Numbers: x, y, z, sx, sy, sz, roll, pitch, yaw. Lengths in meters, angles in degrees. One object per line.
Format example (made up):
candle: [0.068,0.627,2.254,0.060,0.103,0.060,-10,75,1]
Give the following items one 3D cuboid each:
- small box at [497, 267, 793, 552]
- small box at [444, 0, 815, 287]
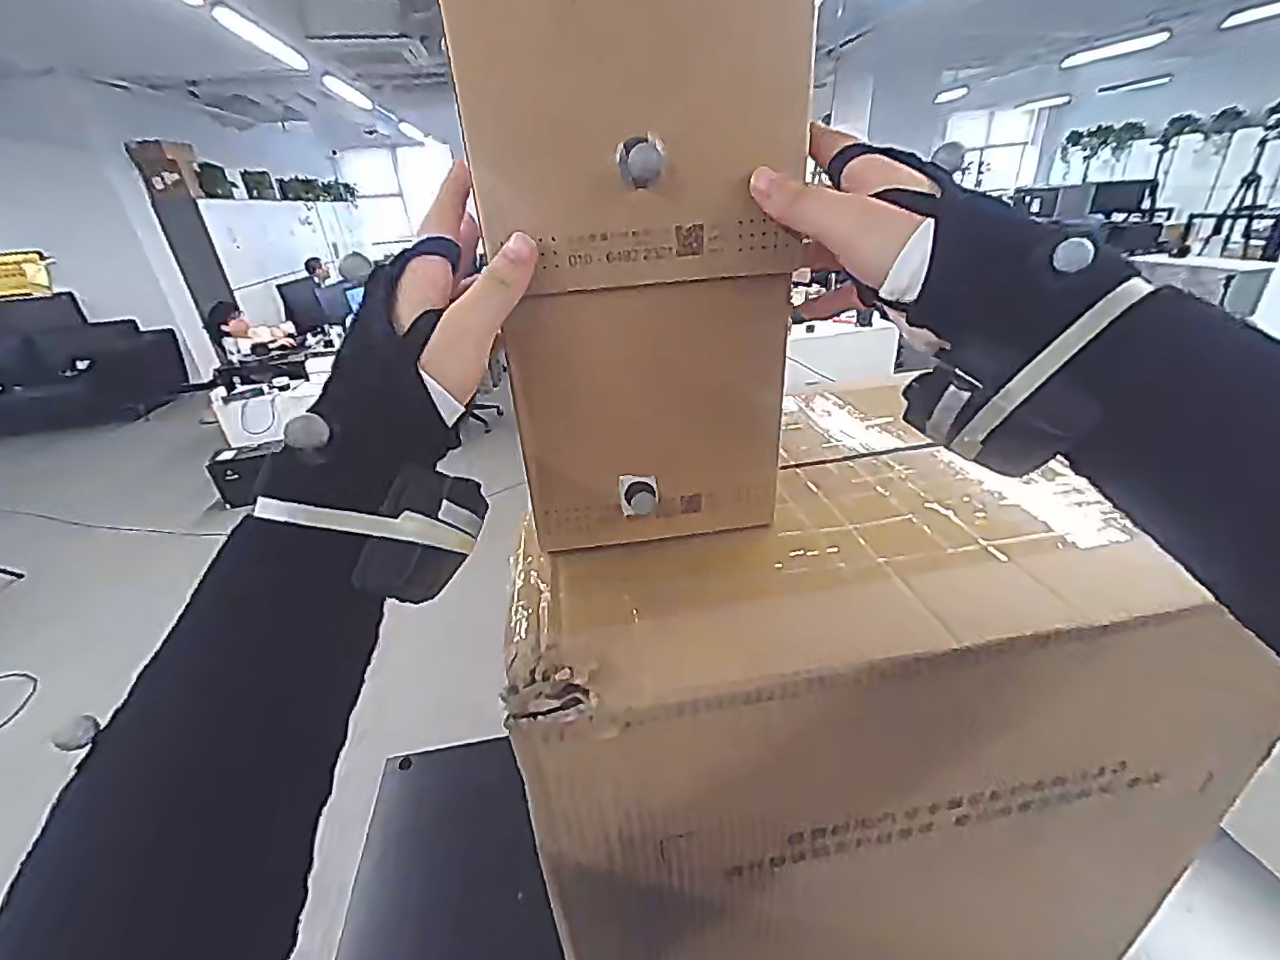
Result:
small box: [-0.003,-0.069,0.400,0.168,0.176,0.179,-8,28,-7]
small box: [-0.011,-0.213,0.320,0.168,0.176,0.179,-7,27,-4]
